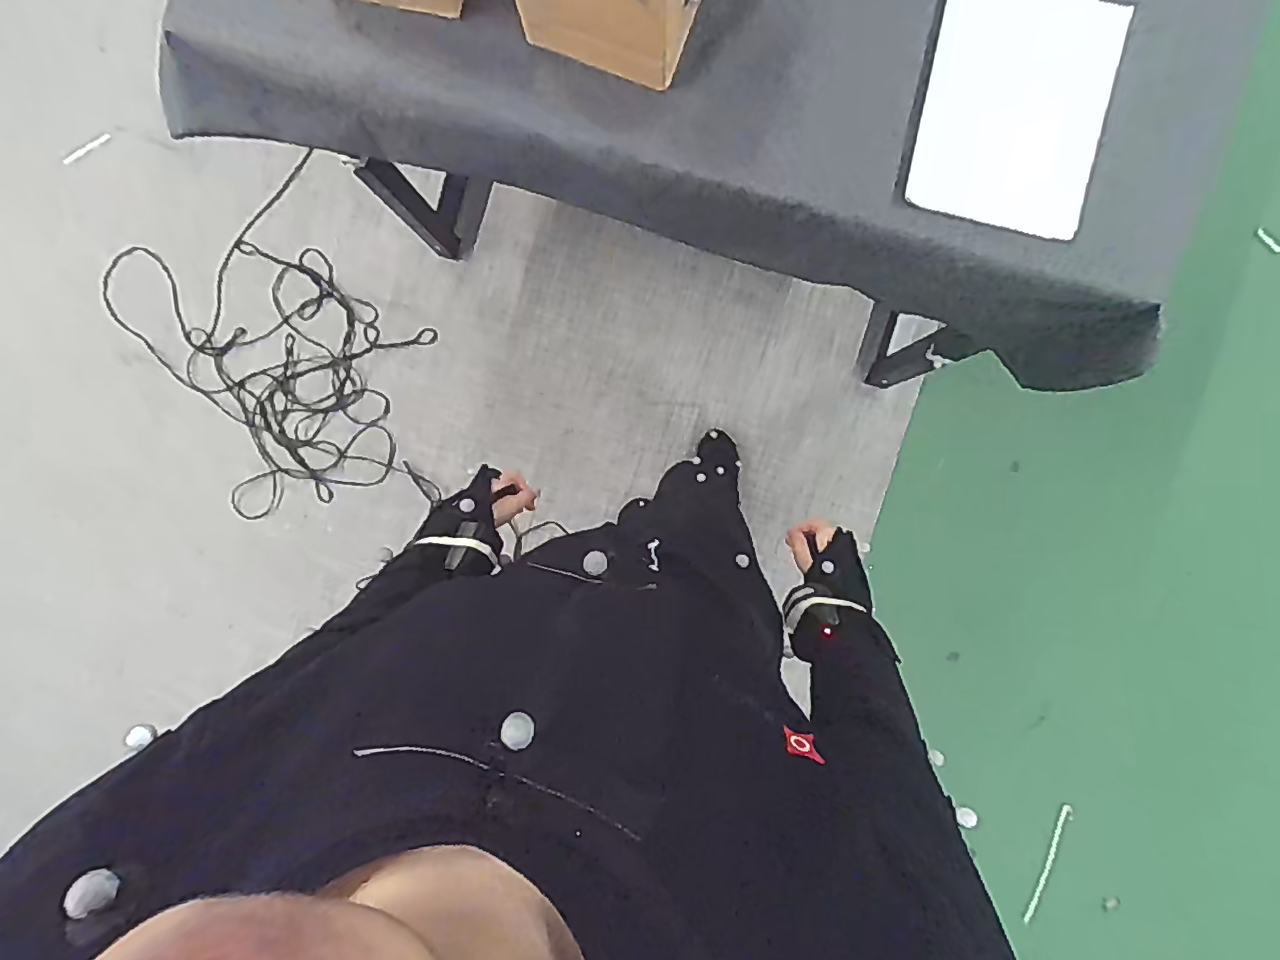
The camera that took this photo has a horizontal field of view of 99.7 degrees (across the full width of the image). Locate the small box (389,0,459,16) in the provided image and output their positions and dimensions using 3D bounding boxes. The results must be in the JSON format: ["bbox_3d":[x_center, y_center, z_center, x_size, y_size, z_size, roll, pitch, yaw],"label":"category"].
[{"bbox_3d":[-0.274,-0.634,0.551,0.168,0.176,0.179,12,90,0],"label":"small box"}]

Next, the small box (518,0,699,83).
[{"bbox_3d":[-0.028,-0.552,0.544,0.179,0.176,0.168,20,91,1],"label":"small box"}]
